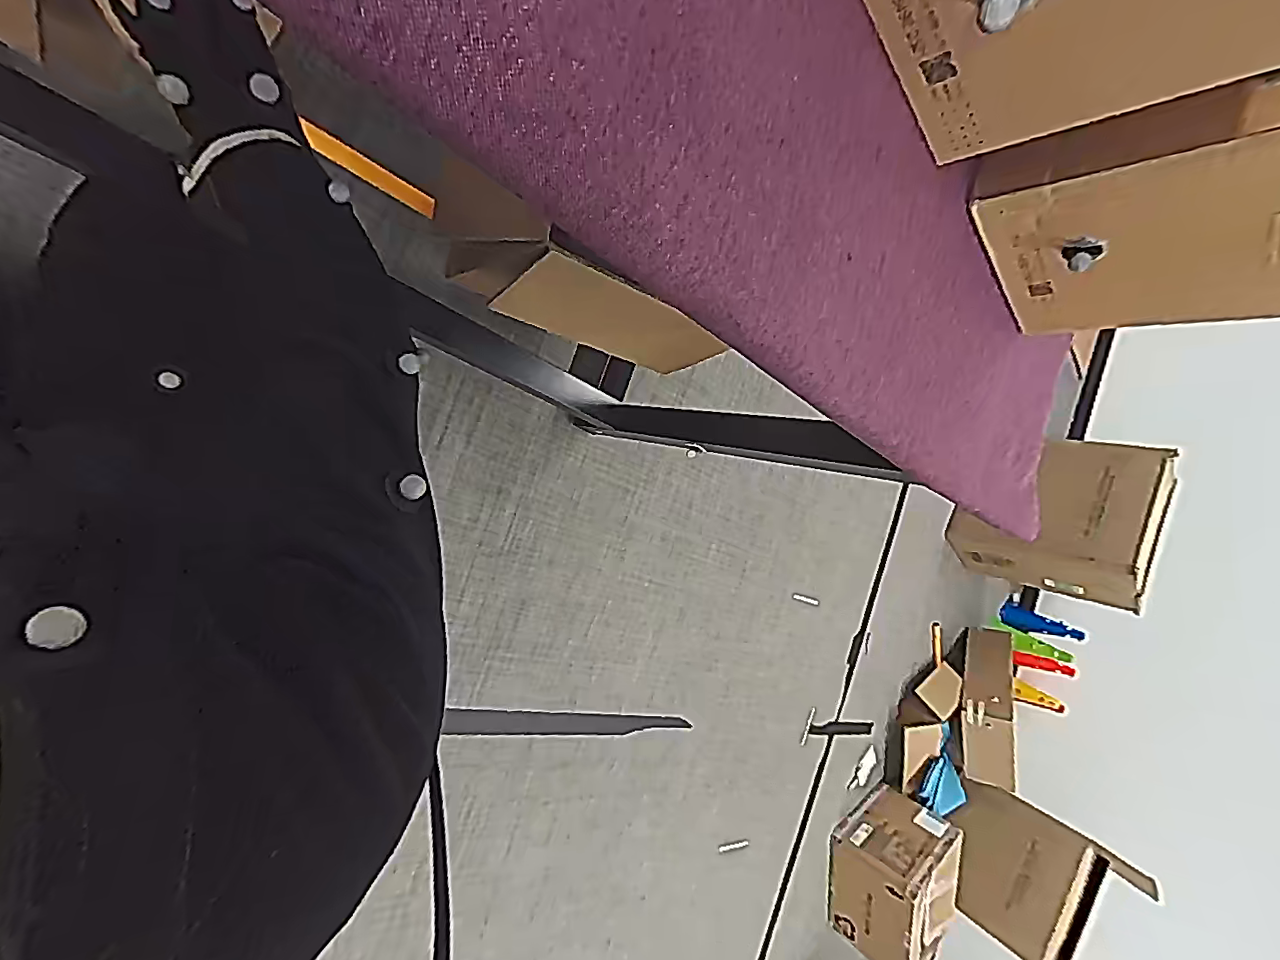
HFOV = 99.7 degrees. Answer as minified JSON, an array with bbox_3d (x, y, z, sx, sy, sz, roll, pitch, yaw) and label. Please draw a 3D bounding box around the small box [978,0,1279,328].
[{"bbox_3d":[0.354,-0.222,0.361,0.168,0.176,0.179,28,80,-40],"label":"small box"}]
